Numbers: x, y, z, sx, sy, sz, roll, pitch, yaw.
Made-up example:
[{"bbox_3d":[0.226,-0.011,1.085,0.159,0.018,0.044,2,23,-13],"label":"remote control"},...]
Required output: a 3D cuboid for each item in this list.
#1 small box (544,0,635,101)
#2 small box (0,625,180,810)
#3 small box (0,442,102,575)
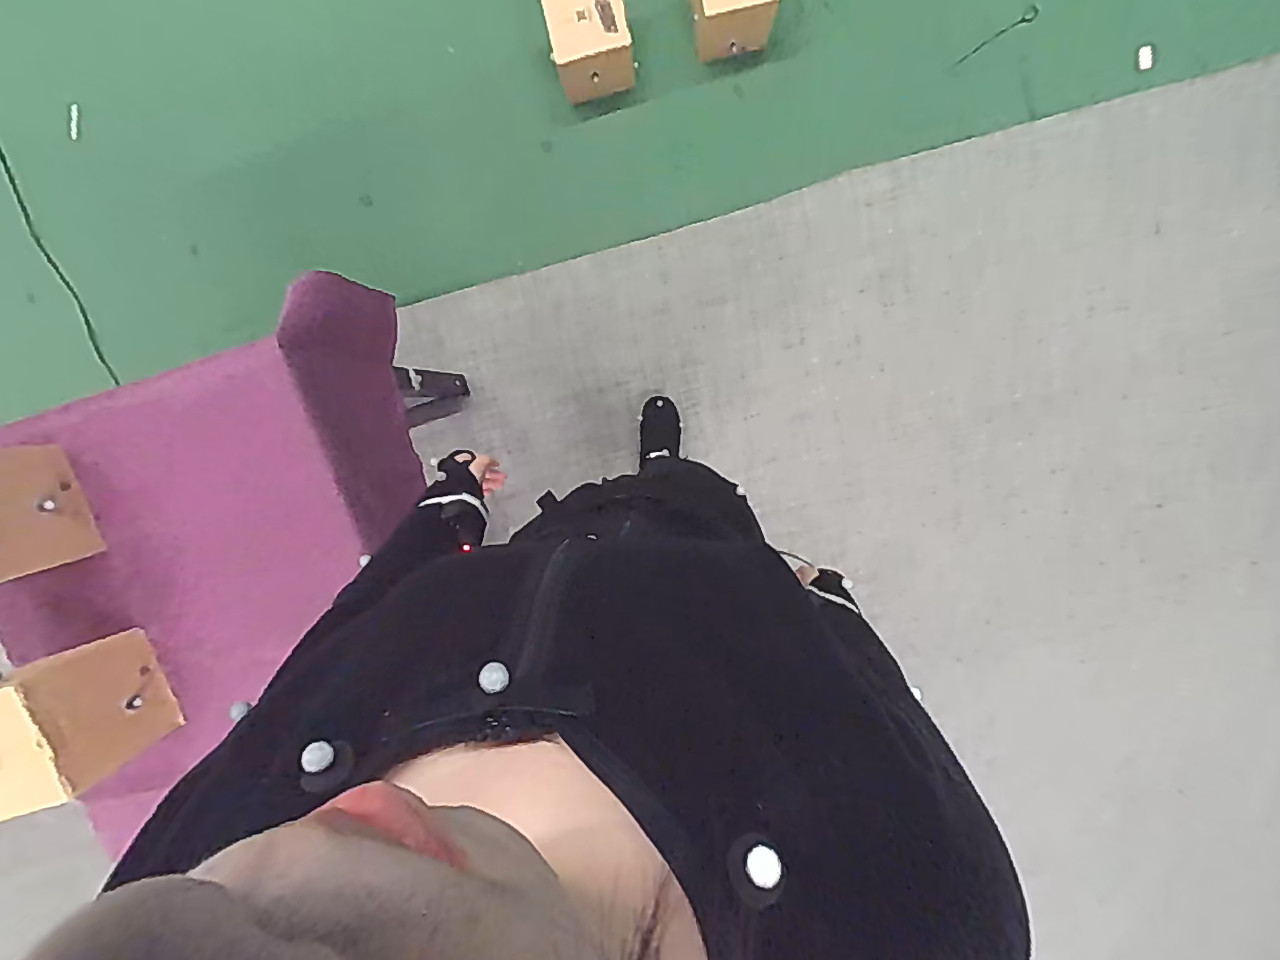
[{"bbox_3d":[-0.111,-1.033,1.262,0.179,0.176,0.168,-12,97,6],"label":"small box"},{"bbox_3d":[-0.819,0.328,0.760,0.179,0.176,0.168,-17,97,4],"label":"small box"},{"bbox_3d":[-0.896,0.053,0.716,0.179,0.176,0.168,-15,98,2],"label":"small box"}]
